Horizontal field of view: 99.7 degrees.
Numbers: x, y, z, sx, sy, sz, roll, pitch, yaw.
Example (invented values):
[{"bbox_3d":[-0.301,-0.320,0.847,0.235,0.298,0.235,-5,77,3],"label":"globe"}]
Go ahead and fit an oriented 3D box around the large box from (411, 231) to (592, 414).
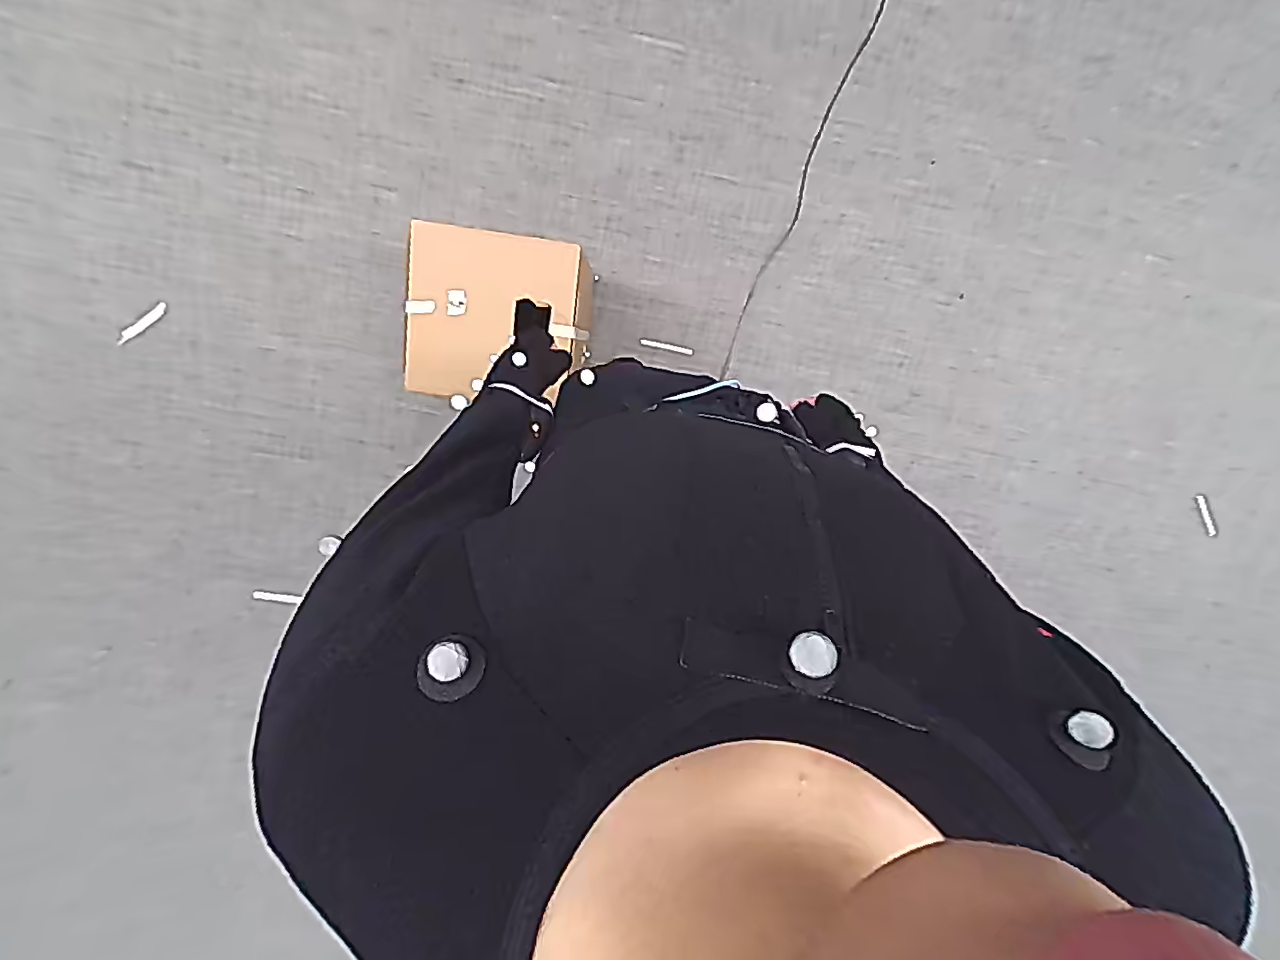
[{"bbox_3d":[-0.287,-0.345,1.213,0.320,0.408,0.320,8,104,-4],"label":"large box"}]
